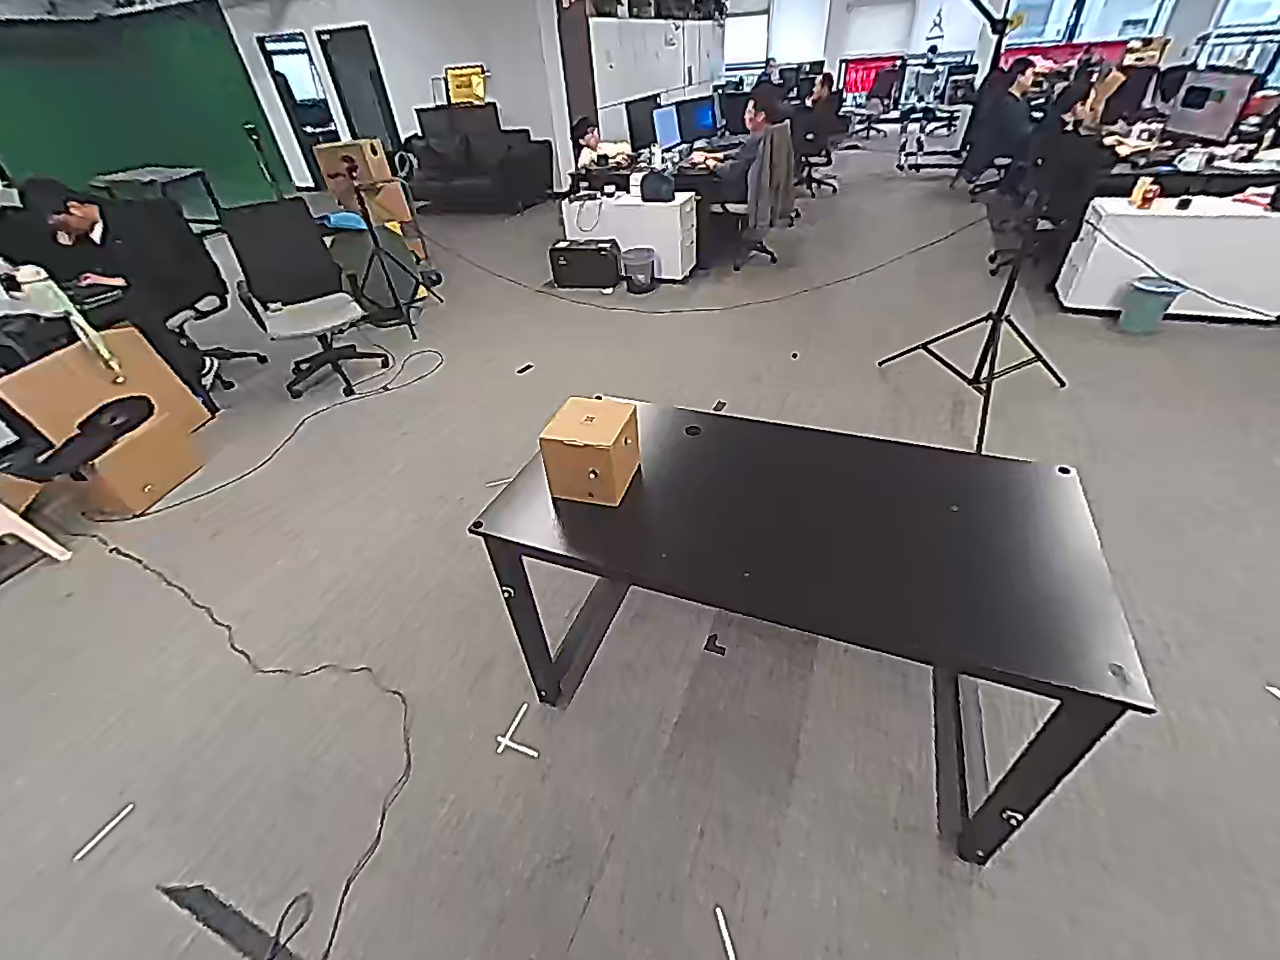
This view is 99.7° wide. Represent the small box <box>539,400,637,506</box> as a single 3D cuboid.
[{"bbox_3d":[-0.108,-0.062,1.233,0.168,0.176,0.179,9,39,15],"label":"small box"}]
